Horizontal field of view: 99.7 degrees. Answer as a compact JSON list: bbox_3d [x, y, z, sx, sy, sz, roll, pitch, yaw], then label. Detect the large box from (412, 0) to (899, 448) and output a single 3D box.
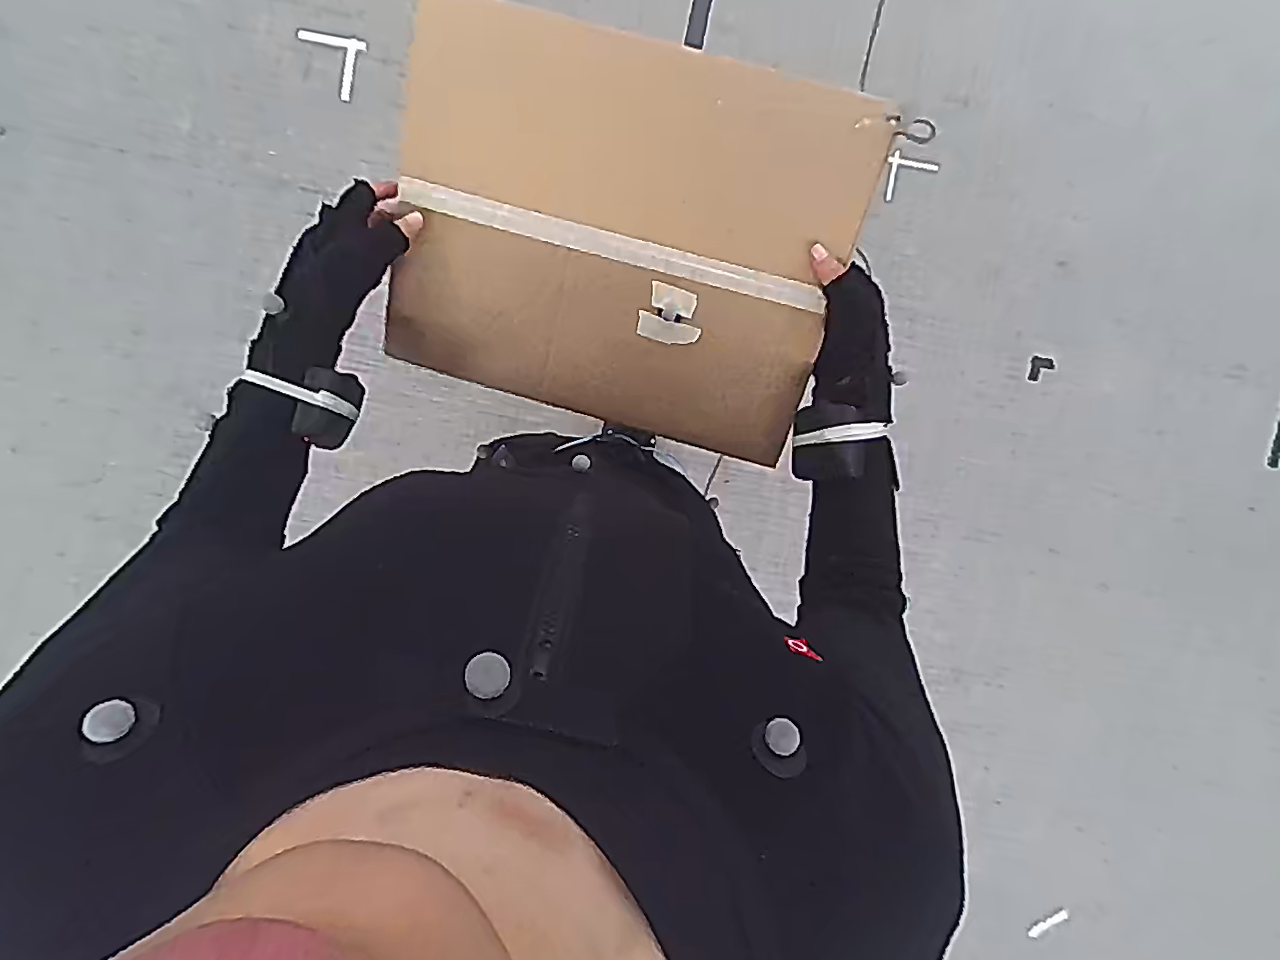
[{"bbox_3d":[0.006,-0.267,0.640,0.408,0.320,0.320,16,111,3],"label":"large box"}]
